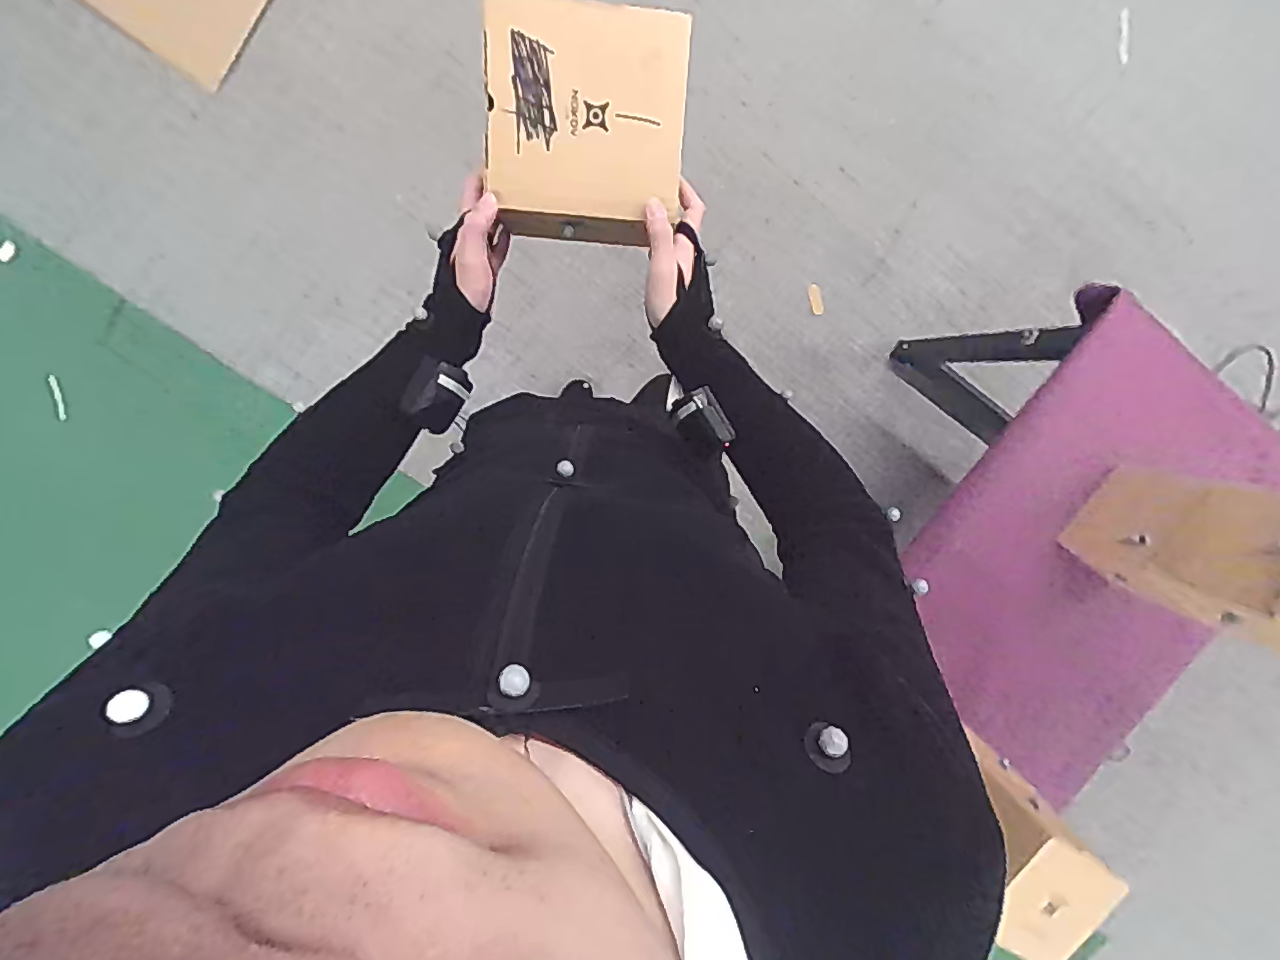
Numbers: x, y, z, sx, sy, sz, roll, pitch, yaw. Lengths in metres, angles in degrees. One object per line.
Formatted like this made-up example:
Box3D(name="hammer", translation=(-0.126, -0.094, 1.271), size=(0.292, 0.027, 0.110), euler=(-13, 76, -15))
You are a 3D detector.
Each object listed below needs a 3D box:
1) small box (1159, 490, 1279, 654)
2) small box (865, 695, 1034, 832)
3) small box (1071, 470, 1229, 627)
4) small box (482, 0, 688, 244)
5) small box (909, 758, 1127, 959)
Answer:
Box3D(name="small box", translation=(0.899, 0.139, 0.758), size=(0.168, 0.176, 0.179), euler=(35, 97, -10))
Box3D(name="small box", translation=(0.541, 0.534, 0.980), size=(0.168, 0.176, 0.179), euler=(33, 98, -11))
Box3D(name="small box", translation=(0.889, 0.107, 0.917), size=(0.168, 0.176, 0.179), euler=(35, 98, -11))
Box3D(name="small box", translation=(-0.056, -0.344, 0.554), size=(0.179, 0.176, 0.168), euler=(2, 106, -6))
Box3D(name="small box", translation=(0.555, 0.570, 0.821), size=(0.168, 0.176, 0.179), euler=(35, 97, -10))
